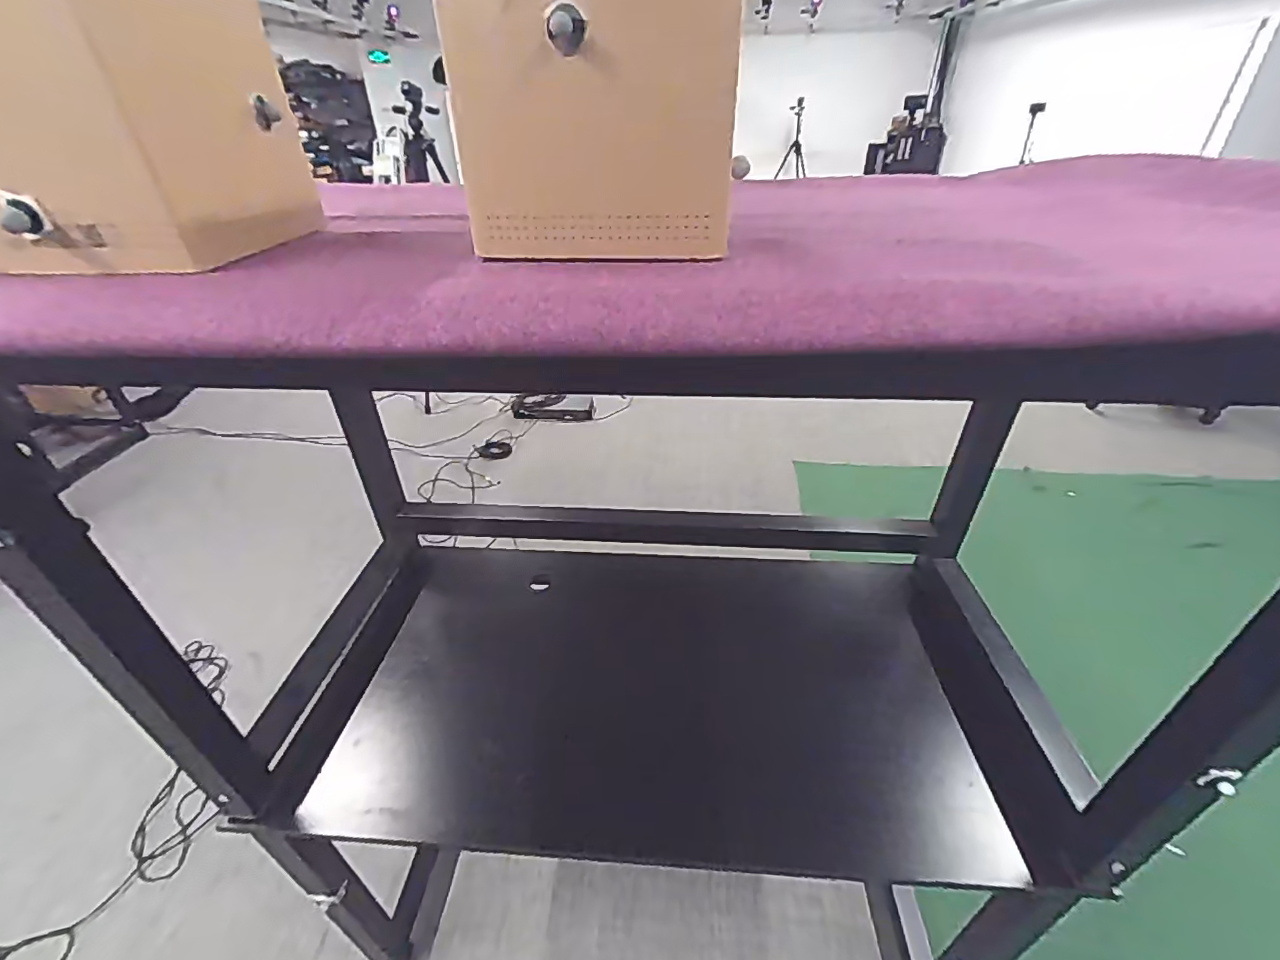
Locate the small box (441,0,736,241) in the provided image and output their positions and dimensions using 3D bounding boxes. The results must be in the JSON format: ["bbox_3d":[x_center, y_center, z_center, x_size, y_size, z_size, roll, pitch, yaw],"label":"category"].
[{"bbox_3d":[-0.025,-0.272,0.387,0.179,0.176,0.168,2,33,5],"label":"small box"}]

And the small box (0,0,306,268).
[{"bbox_3d":[-0.376,-0.258,0.384,0.168,0.176,0.179,-2,36,2],"label":"small box"}]
